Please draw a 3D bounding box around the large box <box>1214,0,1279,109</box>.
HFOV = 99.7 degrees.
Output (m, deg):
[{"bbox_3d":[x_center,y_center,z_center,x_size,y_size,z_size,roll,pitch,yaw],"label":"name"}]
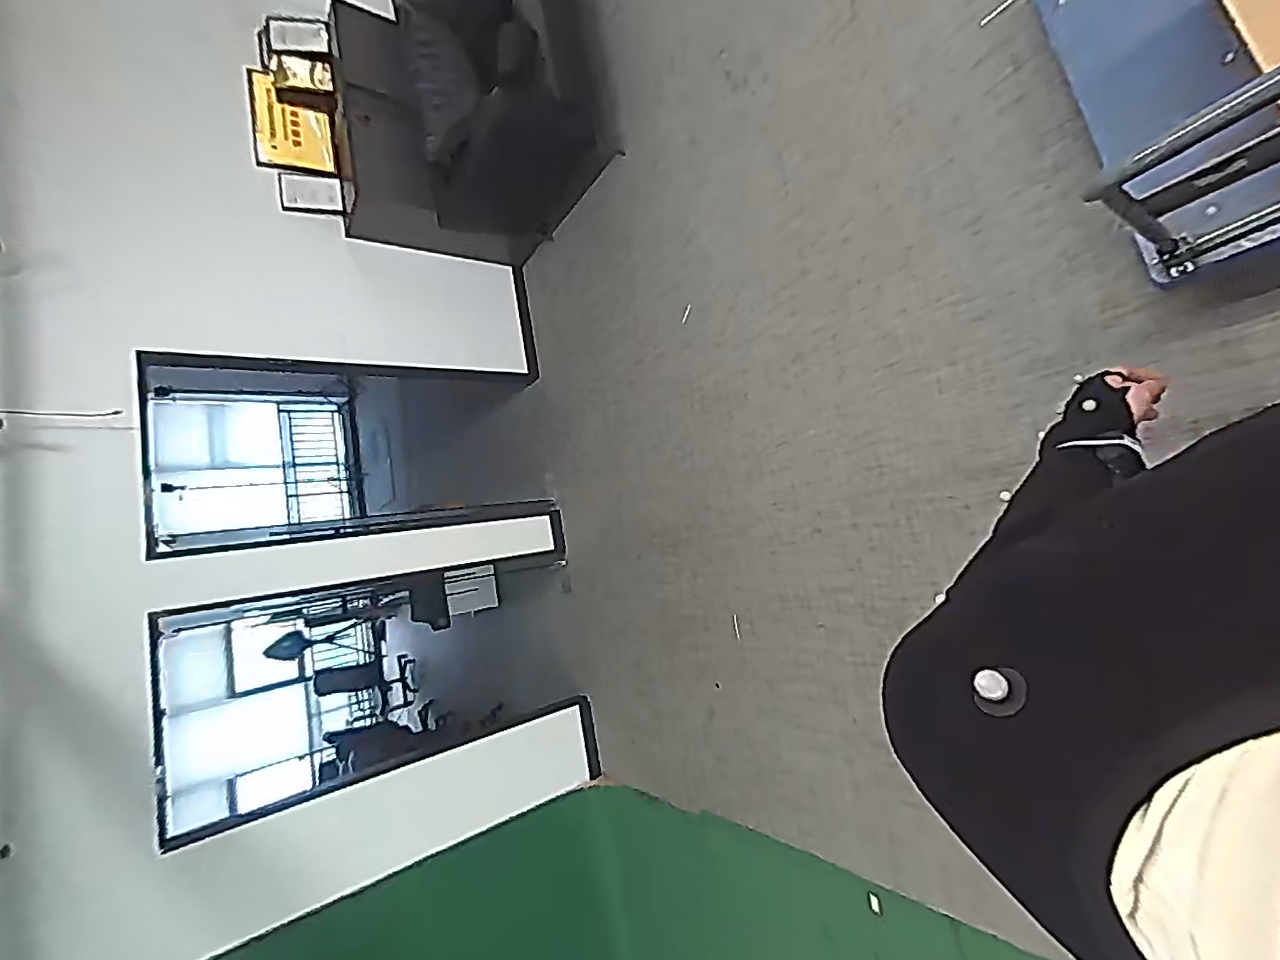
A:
[{"bbox_3d":[1.075,-0.760,0.766,0.320,0.320,0.408,-27,71,51],"label":"large box"}]
